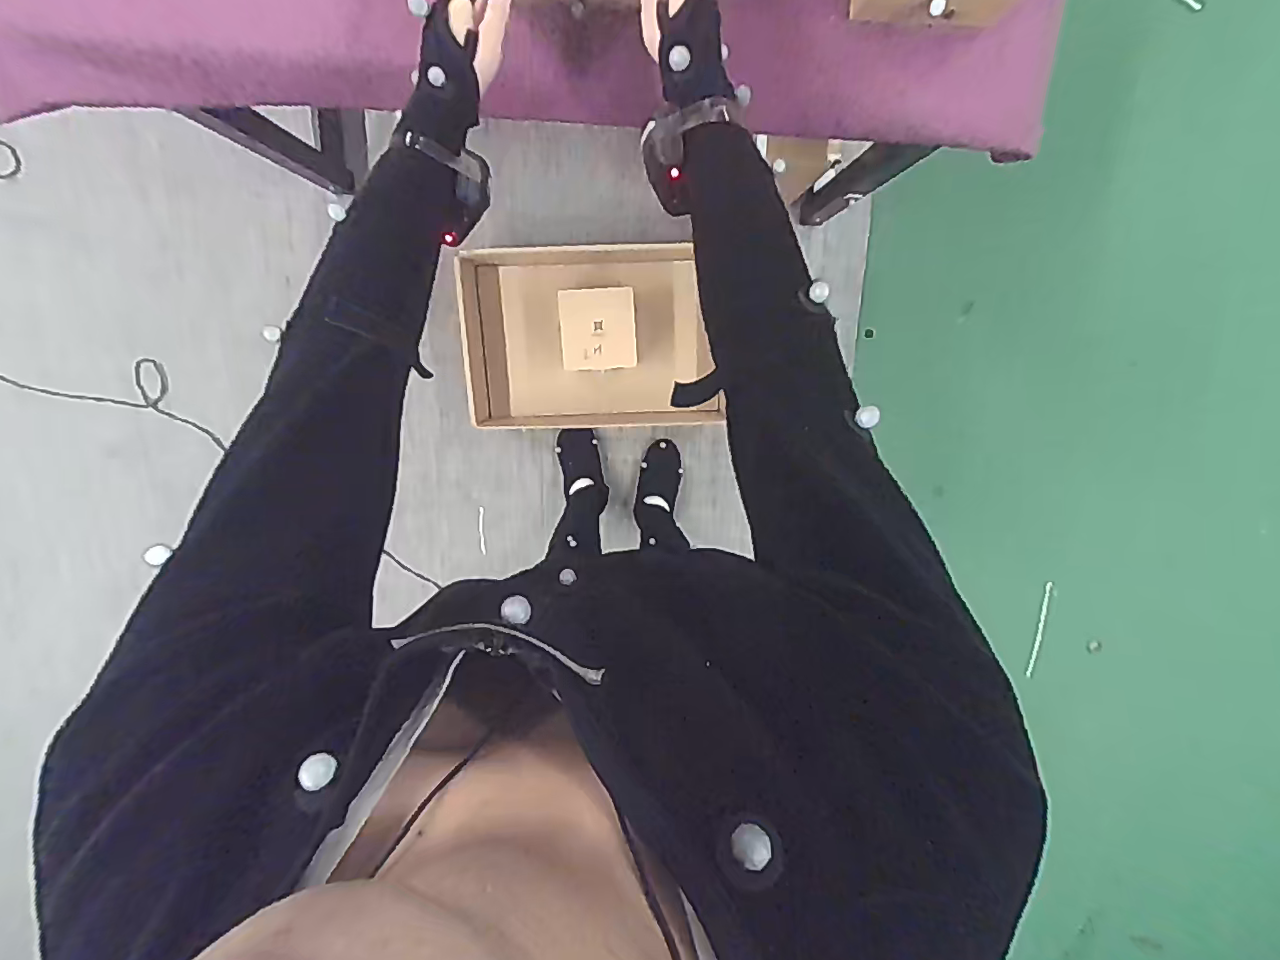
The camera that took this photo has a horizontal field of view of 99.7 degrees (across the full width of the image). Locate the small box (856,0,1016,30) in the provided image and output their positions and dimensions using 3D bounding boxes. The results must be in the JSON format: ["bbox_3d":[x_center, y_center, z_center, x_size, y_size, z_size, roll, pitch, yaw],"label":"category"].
[{"bbox_3d":[0.323,-0.583,0.515,0.168,0.176,0.179,2,103,-1],"label":"small box"}]

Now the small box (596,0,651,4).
[{"bbox_3d":[-0.057,-0.555,0.486,0.168,0.176,0.179,1,125,-2],"label":"small box"}]

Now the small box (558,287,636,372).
[{"bbox_3d":[-0.096,-0.346,1.256,0.168,0.176,0.179,-3,105,0],"label":"small box"}]
